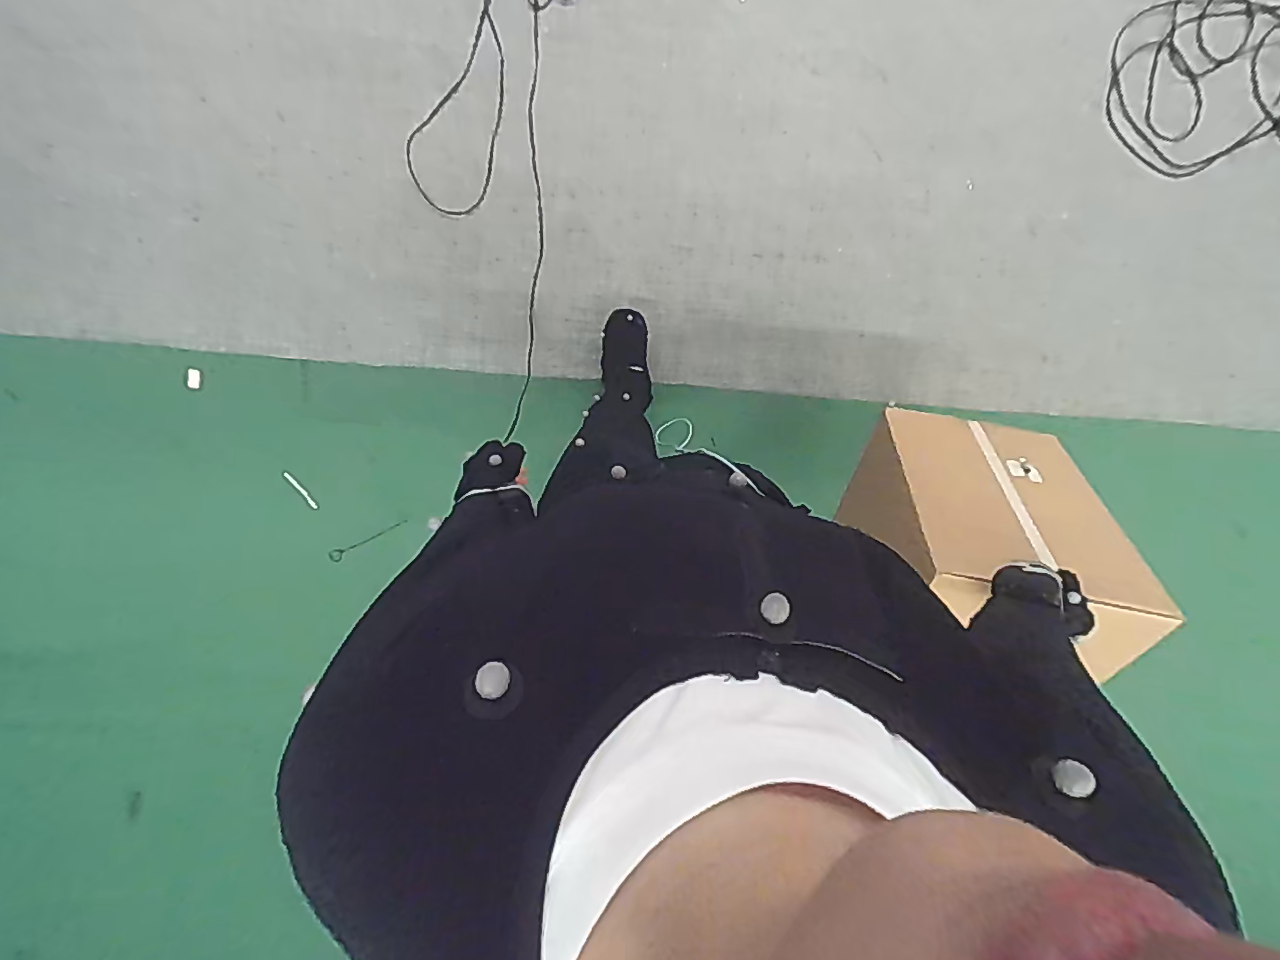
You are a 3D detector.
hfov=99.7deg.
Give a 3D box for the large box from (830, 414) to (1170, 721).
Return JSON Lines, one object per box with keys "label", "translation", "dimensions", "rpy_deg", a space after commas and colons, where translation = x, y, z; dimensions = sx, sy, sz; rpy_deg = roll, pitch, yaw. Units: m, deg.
{"label": "large box", "translation": [0.551, 0.139, 0.947], "dimensions": [0.320, 0.408, 0.320], "rpy_deg": [11, 130, 3]}
